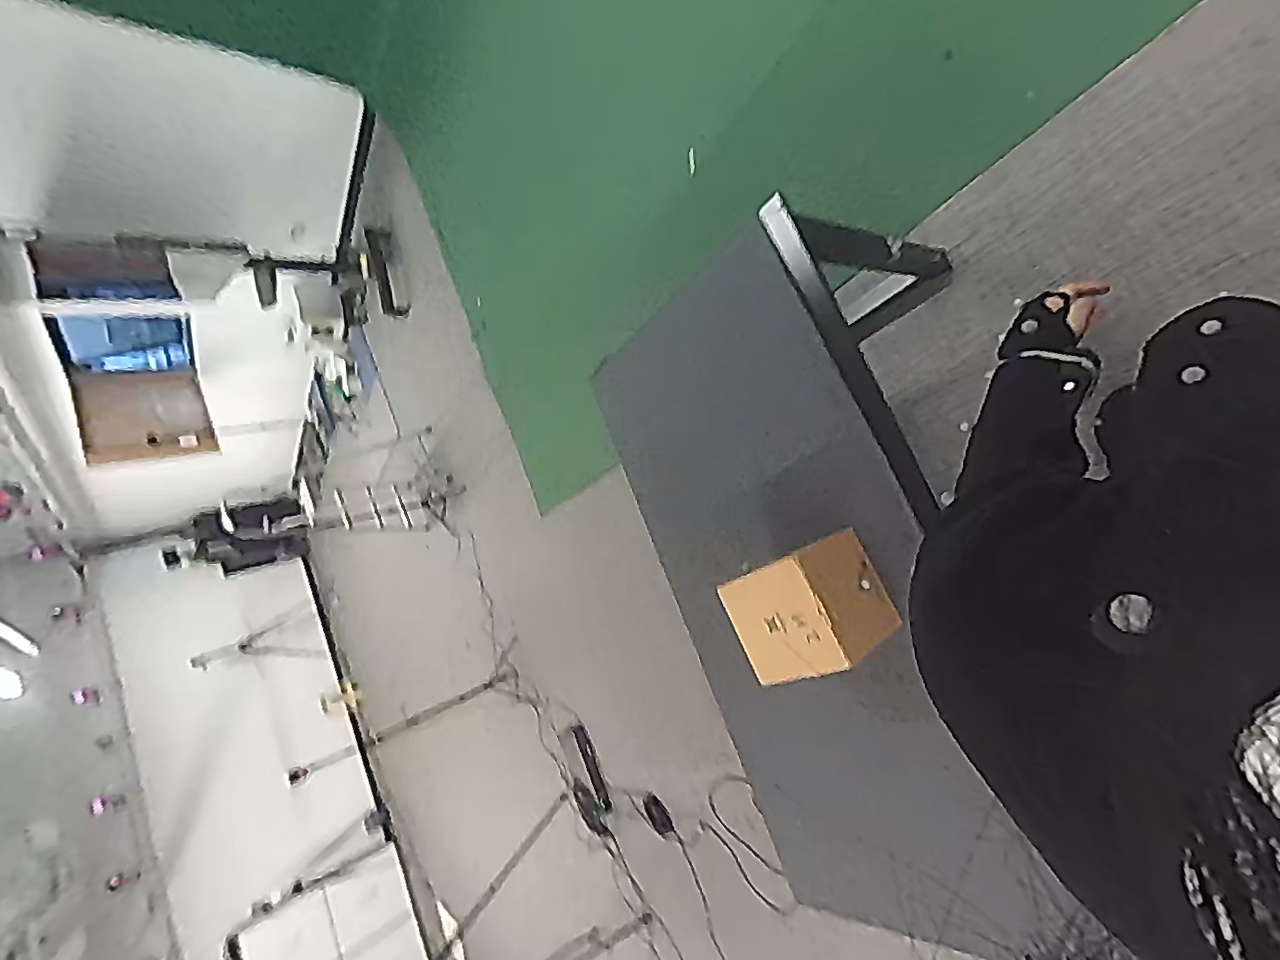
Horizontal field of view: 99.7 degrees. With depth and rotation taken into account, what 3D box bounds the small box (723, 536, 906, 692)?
[{"bbox_3d":[0.268,0.205,0.837,0.179,0.176,0.168,-40,71,47],"label":"small box"}]
